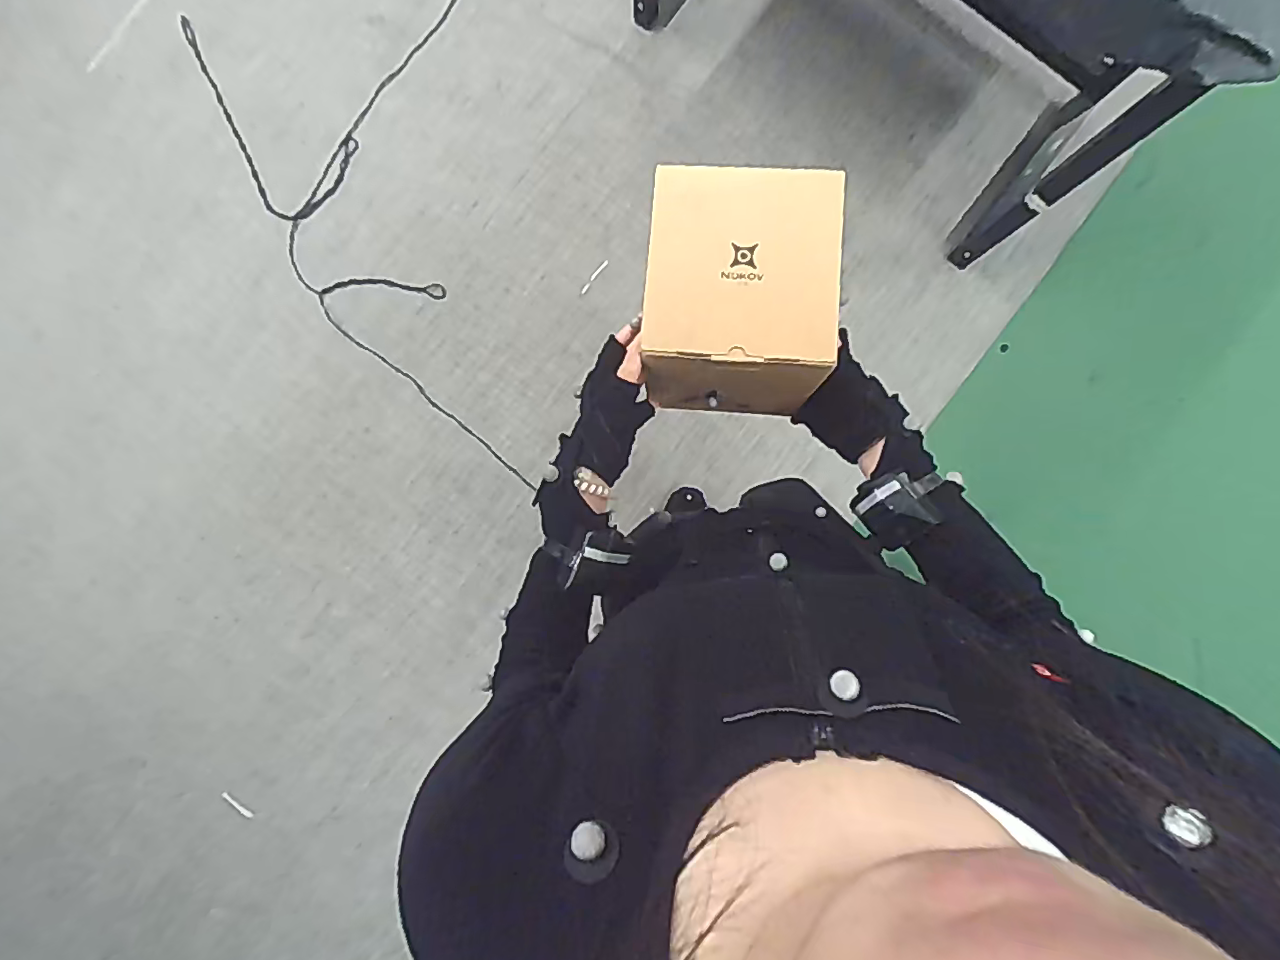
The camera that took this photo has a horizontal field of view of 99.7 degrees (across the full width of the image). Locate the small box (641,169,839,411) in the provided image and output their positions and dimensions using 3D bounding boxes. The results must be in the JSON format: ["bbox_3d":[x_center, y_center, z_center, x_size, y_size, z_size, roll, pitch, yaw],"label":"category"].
[{"bbox_3d":[0.093,-0.180,0.555,0.168,0.176,0.179,4,84,4],"label":"small box"}]
